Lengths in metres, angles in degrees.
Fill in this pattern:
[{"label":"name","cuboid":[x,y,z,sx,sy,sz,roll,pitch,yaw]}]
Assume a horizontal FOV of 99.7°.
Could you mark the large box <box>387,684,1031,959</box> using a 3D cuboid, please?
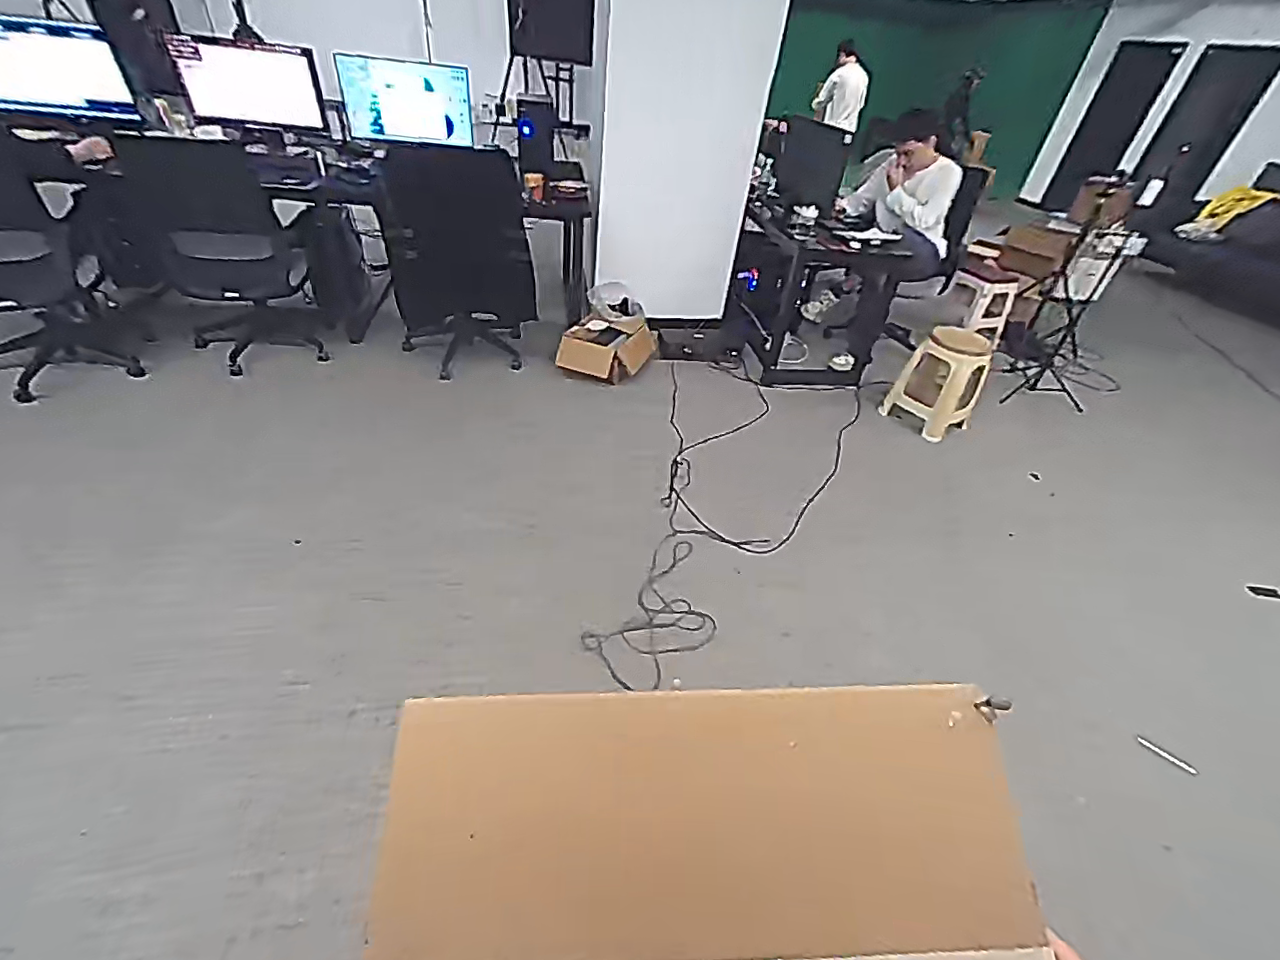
[{"label":"large box","cuboid":[0.039,0.356,0.465,0.408,0.320,0.320,-1,68,-2]}]
